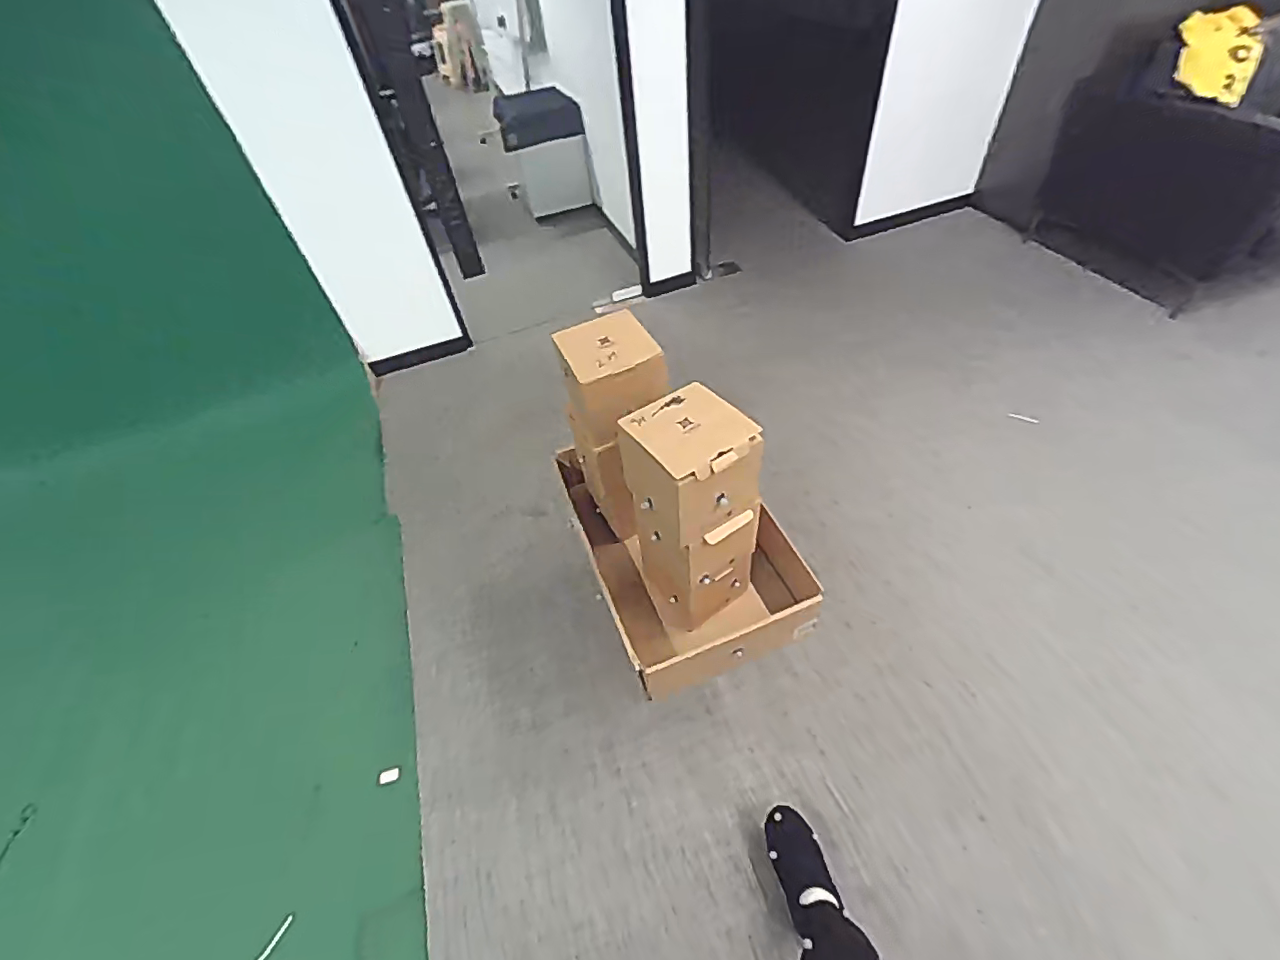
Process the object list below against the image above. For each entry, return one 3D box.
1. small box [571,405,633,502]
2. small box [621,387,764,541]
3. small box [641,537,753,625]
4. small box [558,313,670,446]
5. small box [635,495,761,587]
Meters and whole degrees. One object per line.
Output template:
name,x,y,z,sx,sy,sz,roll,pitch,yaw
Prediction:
small box,-0.034,-0.083,1.202,0.179,0.176,0.168,-24,51,-12
small box,0.086,-0.020,0.916,0.168,0.176,0.179,-27,52,-18
small box,0.123,0.188,1.167,0.168,0.176,0.179,-30,52,-18
small box,-0.049,-0.199,1.085,0.168,0.176,0.179,-22,51,-10
small box,0.110,0.082,1.043,0.168,0.176,0.179,-30,51,-19
